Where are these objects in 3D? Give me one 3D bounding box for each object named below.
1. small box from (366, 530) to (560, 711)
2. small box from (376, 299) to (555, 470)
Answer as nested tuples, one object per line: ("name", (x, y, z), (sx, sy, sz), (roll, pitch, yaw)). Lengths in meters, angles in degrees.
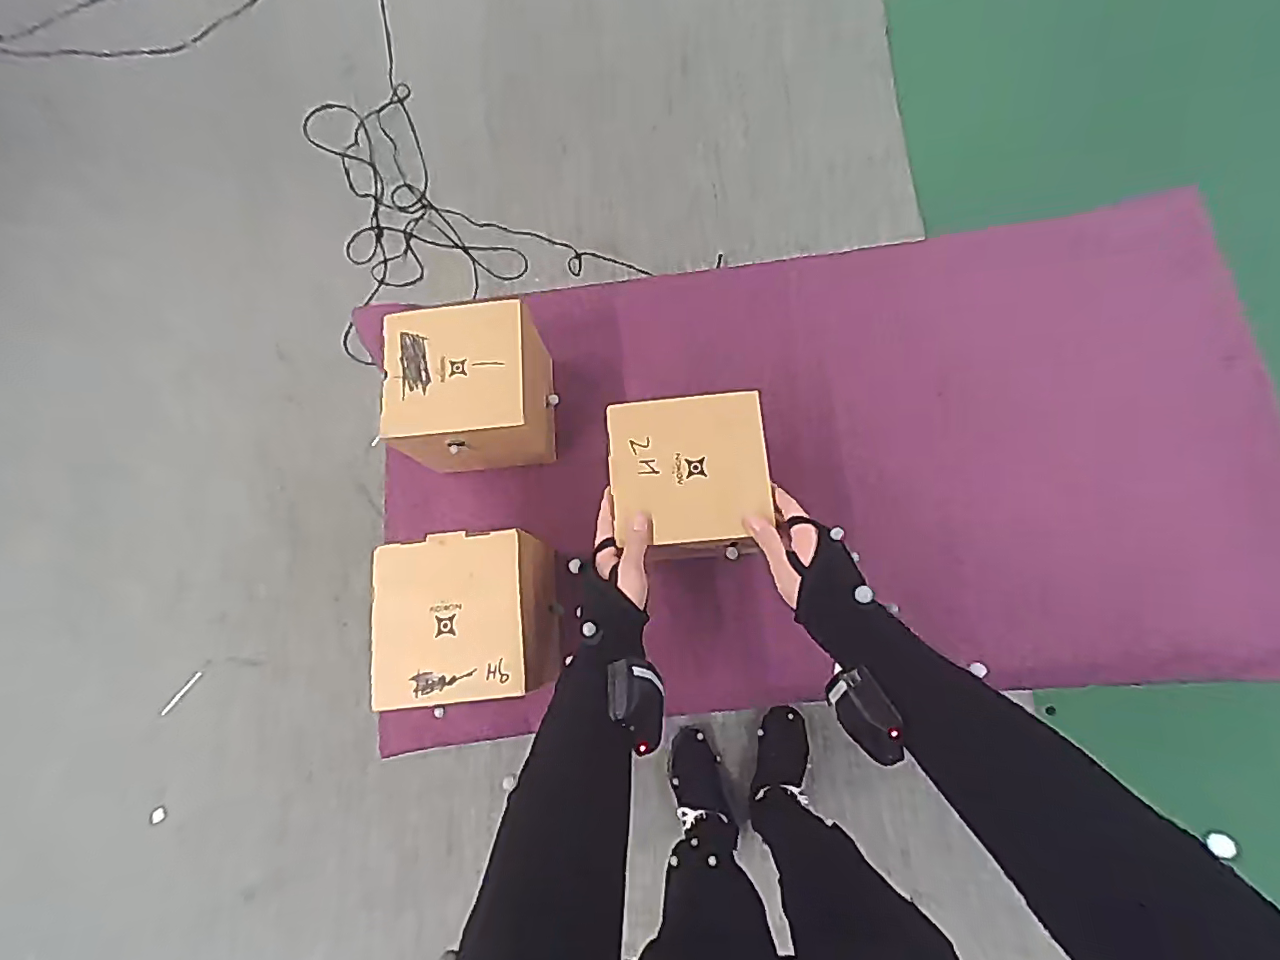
("small box", (-0.197, 0.167, 0.645), (0.168, 0.176, 0.179), (-7, 74, 5))
("small box", (-0.218, -0.115, 0.716), (0.179, 0.176, 0.168), (-5, 77, 3))
